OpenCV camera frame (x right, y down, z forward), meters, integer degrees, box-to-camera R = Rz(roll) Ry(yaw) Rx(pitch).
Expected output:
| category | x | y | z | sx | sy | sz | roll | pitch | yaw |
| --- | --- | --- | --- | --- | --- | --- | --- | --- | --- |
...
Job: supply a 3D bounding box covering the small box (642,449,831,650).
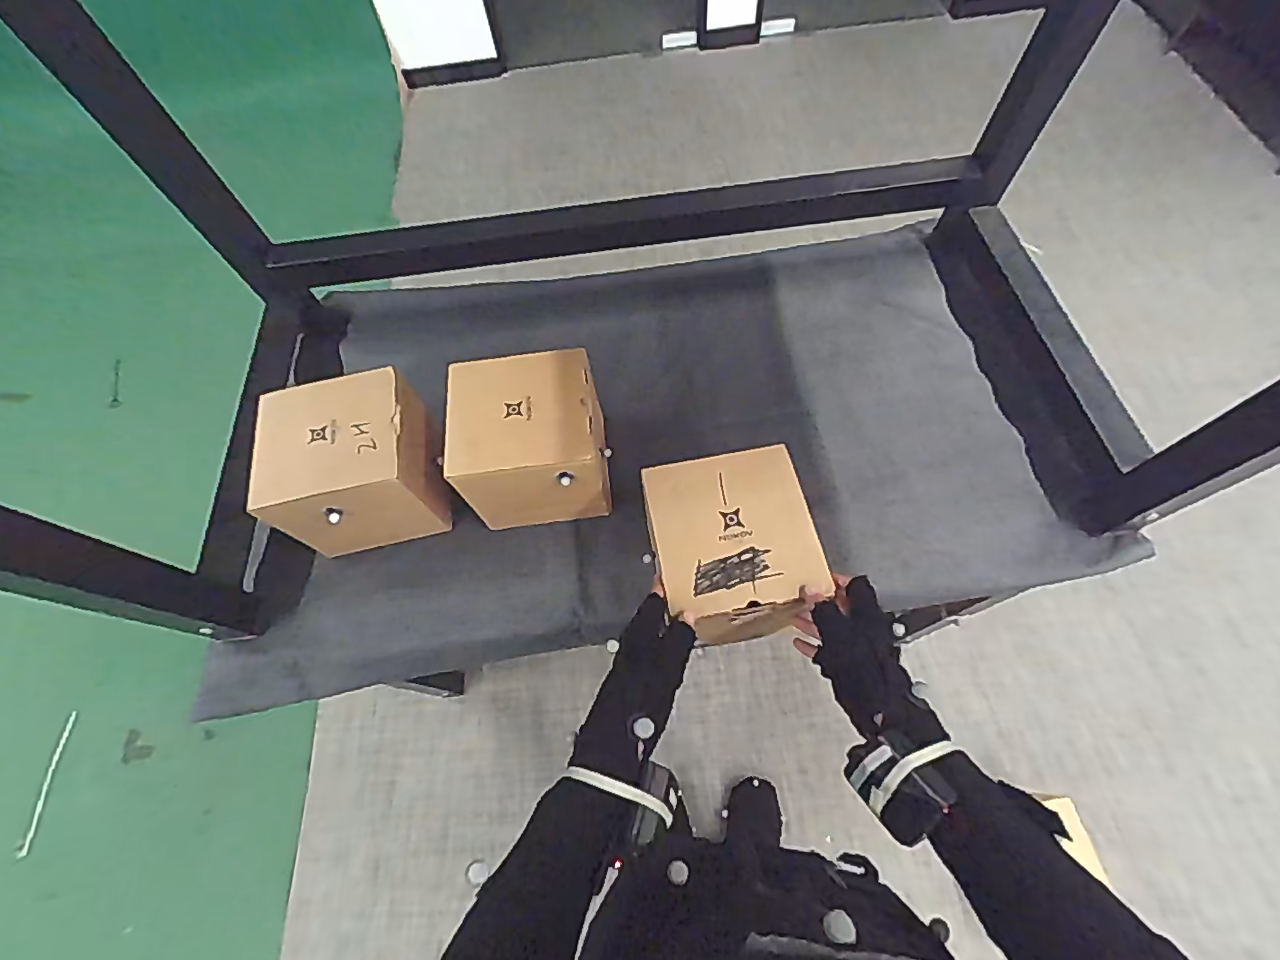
| category | x | y | z | sx | sy | sz | roll | pitch | yaw |
| --- | --- | --- | --- | --- | --- | --- | --- | --- | --- |
| small box | 0.100 | 0.090 | 0.627 | 0.168 | 0.176 | 0.179 | -9 | 62 | -1 |
